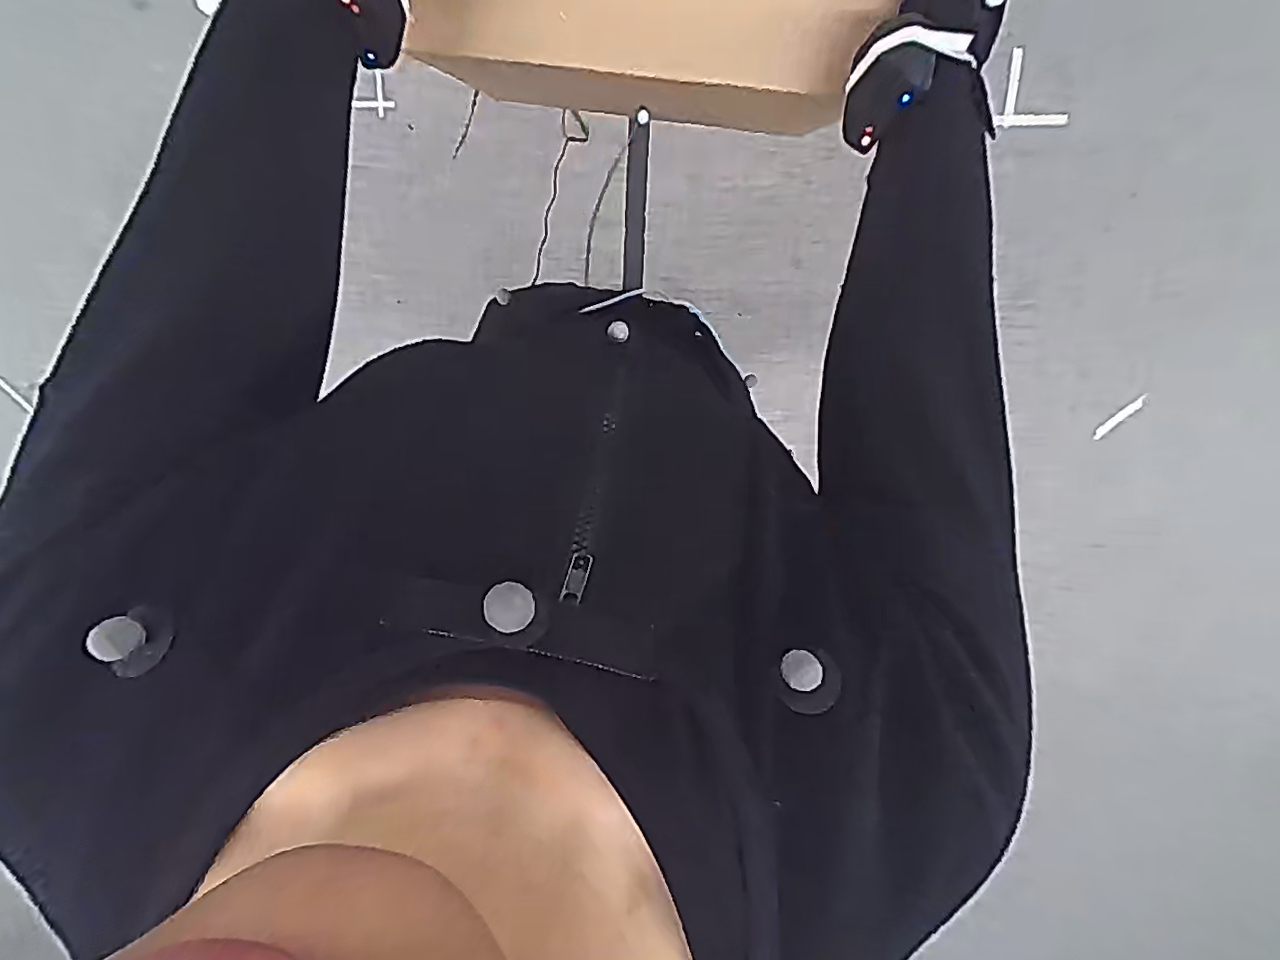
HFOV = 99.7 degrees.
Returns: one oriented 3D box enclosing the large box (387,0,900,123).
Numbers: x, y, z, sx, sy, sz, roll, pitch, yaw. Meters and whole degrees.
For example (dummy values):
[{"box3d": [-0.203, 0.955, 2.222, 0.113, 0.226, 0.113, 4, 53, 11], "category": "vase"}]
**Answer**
[{"box3d": [0.019, -0.537, 0.494, 0.408, 0.320, 0.320, 7, 117, 1], "category": "large box"}]
